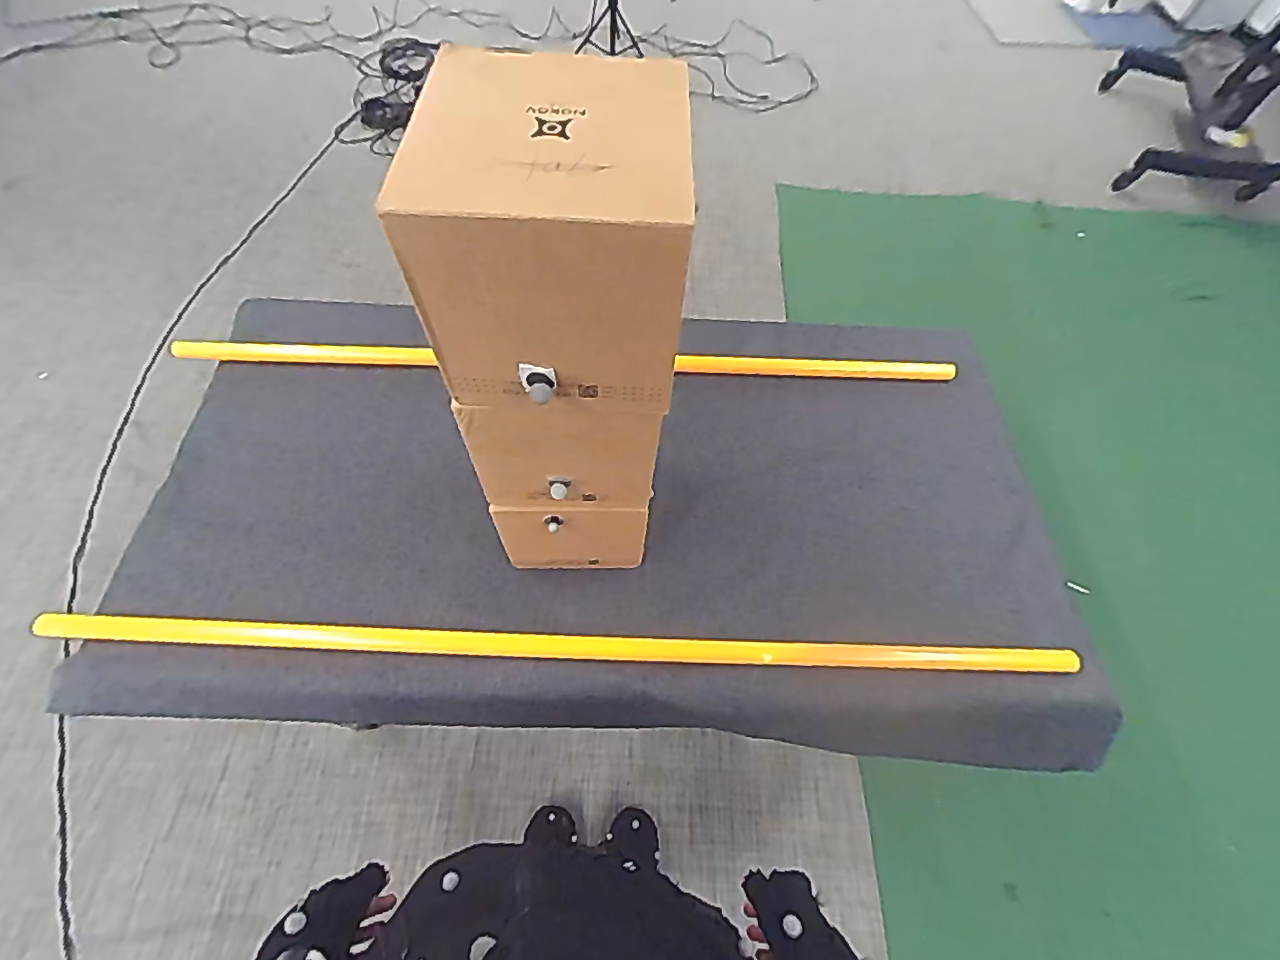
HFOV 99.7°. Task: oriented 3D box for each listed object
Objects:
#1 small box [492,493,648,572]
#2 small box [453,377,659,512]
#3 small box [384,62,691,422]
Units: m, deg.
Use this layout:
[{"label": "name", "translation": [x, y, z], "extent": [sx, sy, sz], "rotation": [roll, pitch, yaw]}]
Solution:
[{"label": "small box", "translation": [-0.079, 0.001, 0.675], "extent": [0.168, 0.176, 0.179], "rotation": [0, 59, -3]}, {"label": "small box", "translation": [-0.070, -0.085, 0.535], "extent": [0.168, 0.176, 0.179], "rotation": [1, 60, -2]}, {"label": "small box", "translation": [-0.055, -0.164, 0.395], "extent": [0.168, 0.176, 0.179], "rotation": [1, 61, -1]}]
